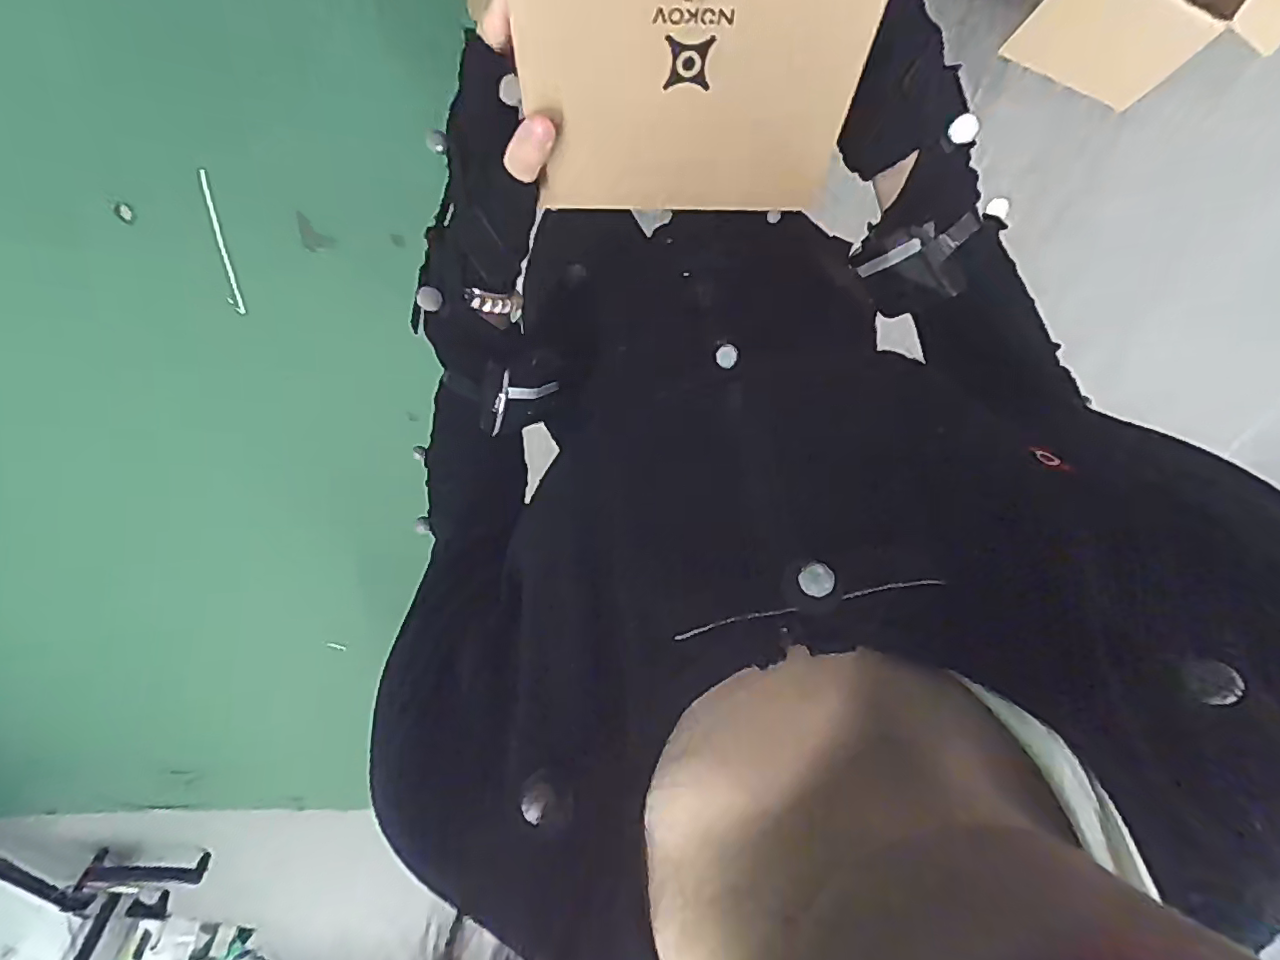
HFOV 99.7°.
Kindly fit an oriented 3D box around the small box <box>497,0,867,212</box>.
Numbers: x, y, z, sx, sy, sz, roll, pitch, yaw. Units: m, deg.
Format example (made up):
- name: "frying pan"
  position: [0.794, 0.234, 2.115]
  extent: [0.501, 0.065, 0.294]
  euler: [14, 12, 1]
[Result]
- name: "small box"
  position: [0.016, -0.274, 0.289]
  extent: [0.168, 0.176, 0.179]
  euler: [-1, 152, -2]
